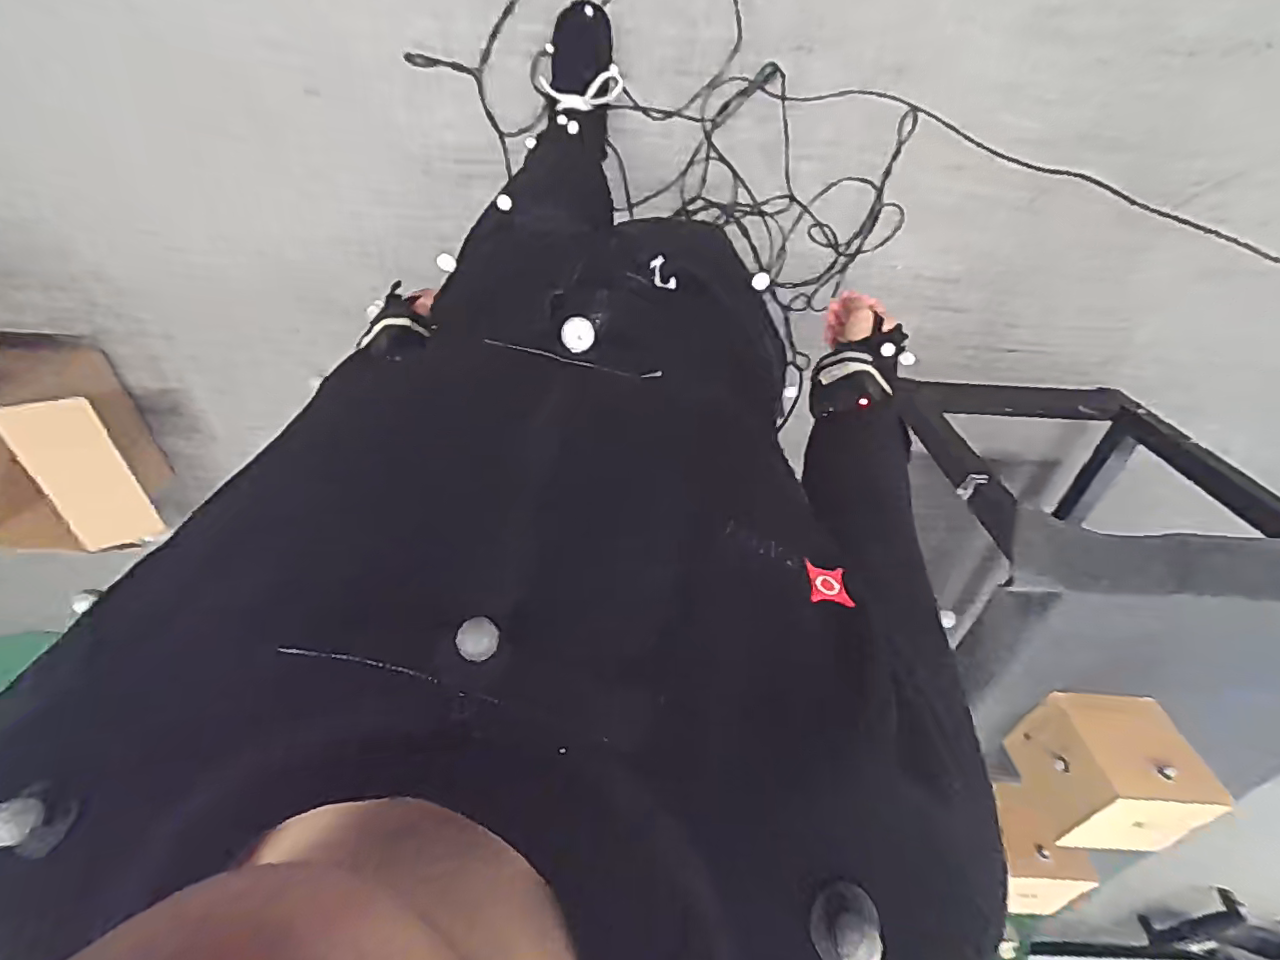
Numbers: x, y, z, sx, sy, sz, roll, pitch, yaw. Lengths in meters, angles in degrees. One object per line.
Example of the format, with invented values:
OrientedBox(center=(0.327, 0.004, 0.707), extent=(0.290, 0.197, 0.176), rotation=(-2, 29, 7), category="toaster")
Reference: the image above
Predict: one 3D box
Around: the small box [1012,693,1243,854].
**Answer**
OrientedBox(center=(0.745, 0.459, 0.855), extent=(0.179, 0.176, 0.168), rotation=(4, 126, -3), category="small box")

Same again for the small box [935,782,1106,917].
OrientedBox(center=(0.710, 0.703, 1.035), extent=(0.179, 0.176, 0.168), rotation=(5, 125, -2), category="small box")
